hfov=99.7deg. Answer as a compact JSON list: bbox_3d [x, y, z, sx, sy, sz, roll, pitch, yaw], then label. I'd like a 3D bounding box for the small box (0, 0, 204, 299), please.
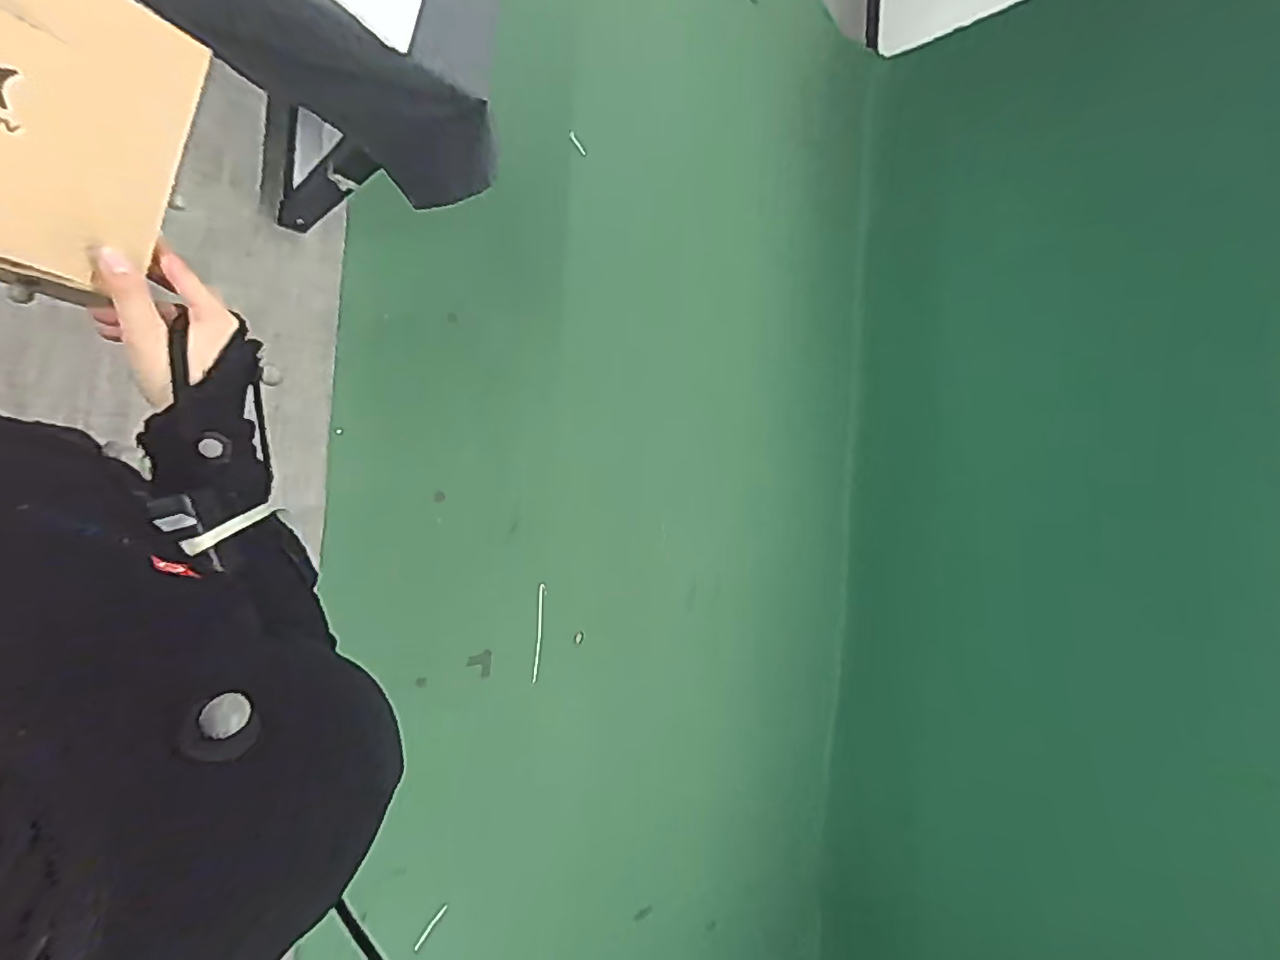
[{"bbox_3d":[-0.410,-0.225,0.332,0.168,0.176,0.179,16,87,-52],"label":"small box"}]
